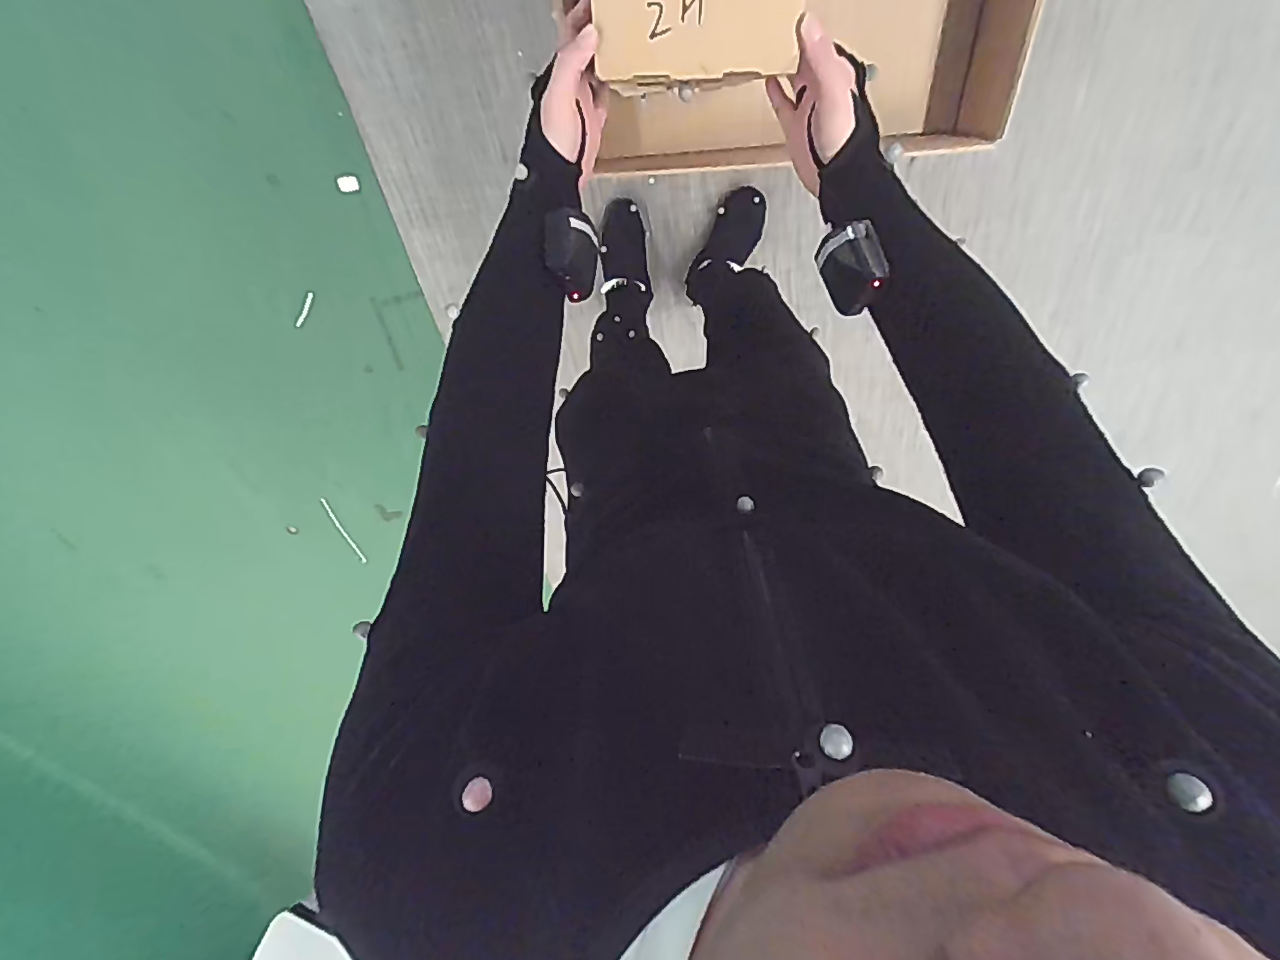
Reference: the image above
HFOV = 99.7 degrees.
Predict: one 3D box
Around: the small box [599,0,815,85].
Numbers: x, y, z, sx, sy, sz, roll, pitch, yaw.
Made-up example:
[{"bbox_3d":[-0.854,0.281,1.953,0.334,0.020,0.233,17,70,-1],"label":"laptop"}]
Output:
[{"bbox_3d":[0.049,-0.439,0.449,0.168,0.176,0.179,-1,127,1],"label":"small box"}]
